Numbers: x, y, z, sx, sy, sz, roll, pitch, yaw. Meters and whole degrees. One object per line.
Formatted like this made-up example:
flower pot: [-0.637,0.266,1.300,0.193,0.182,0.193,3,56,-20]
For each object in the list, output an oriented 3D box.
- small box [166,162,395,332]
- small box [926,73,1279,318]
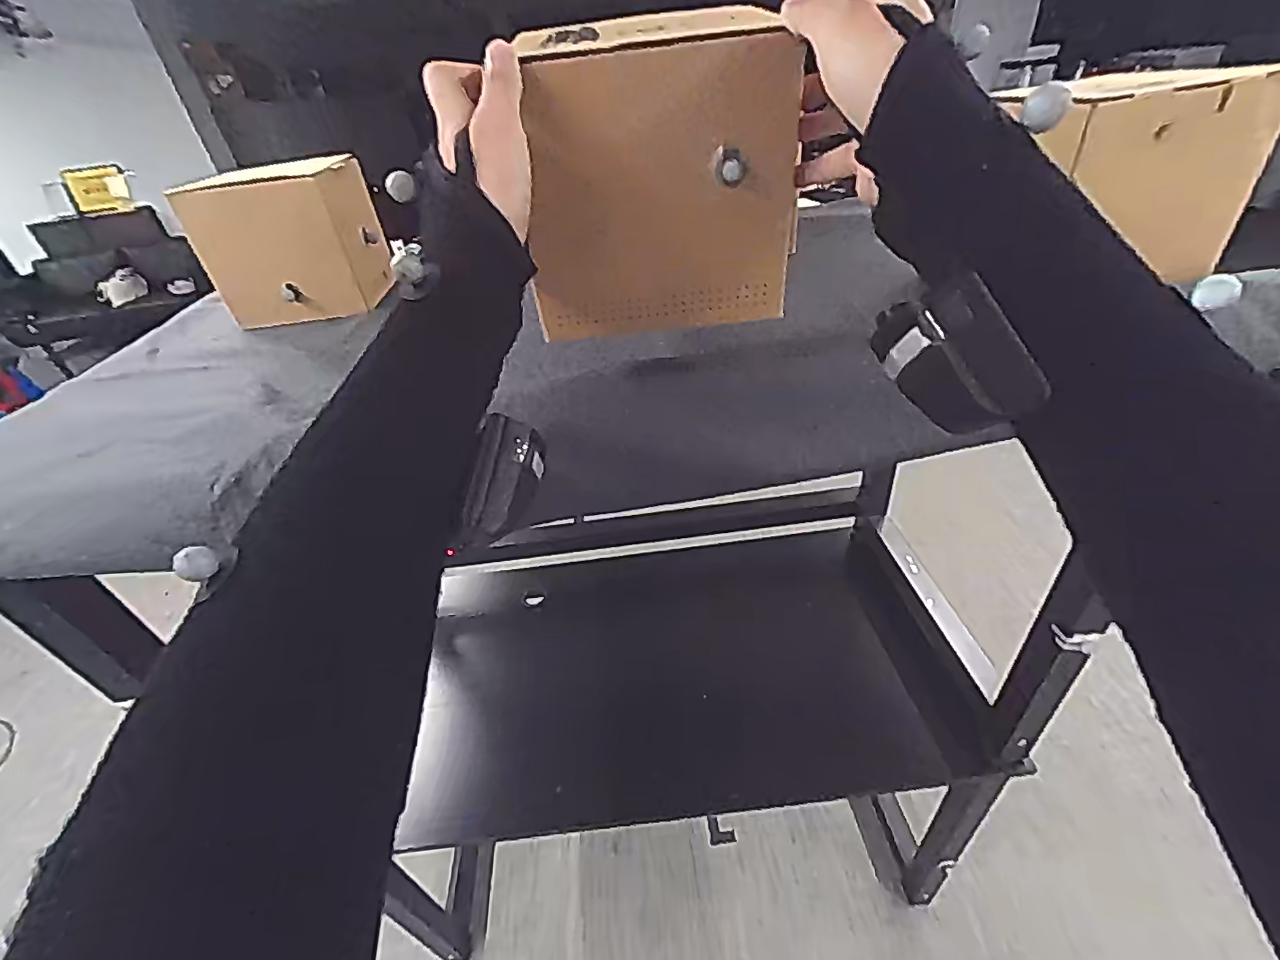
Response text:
small box: [-0.460,-0.316,0.733,0.179,0.176,0.168,-8,37,-2]
small box: [0.400,-0.260,0.503,0.168,0.176,0.179,-10,35,-2]
